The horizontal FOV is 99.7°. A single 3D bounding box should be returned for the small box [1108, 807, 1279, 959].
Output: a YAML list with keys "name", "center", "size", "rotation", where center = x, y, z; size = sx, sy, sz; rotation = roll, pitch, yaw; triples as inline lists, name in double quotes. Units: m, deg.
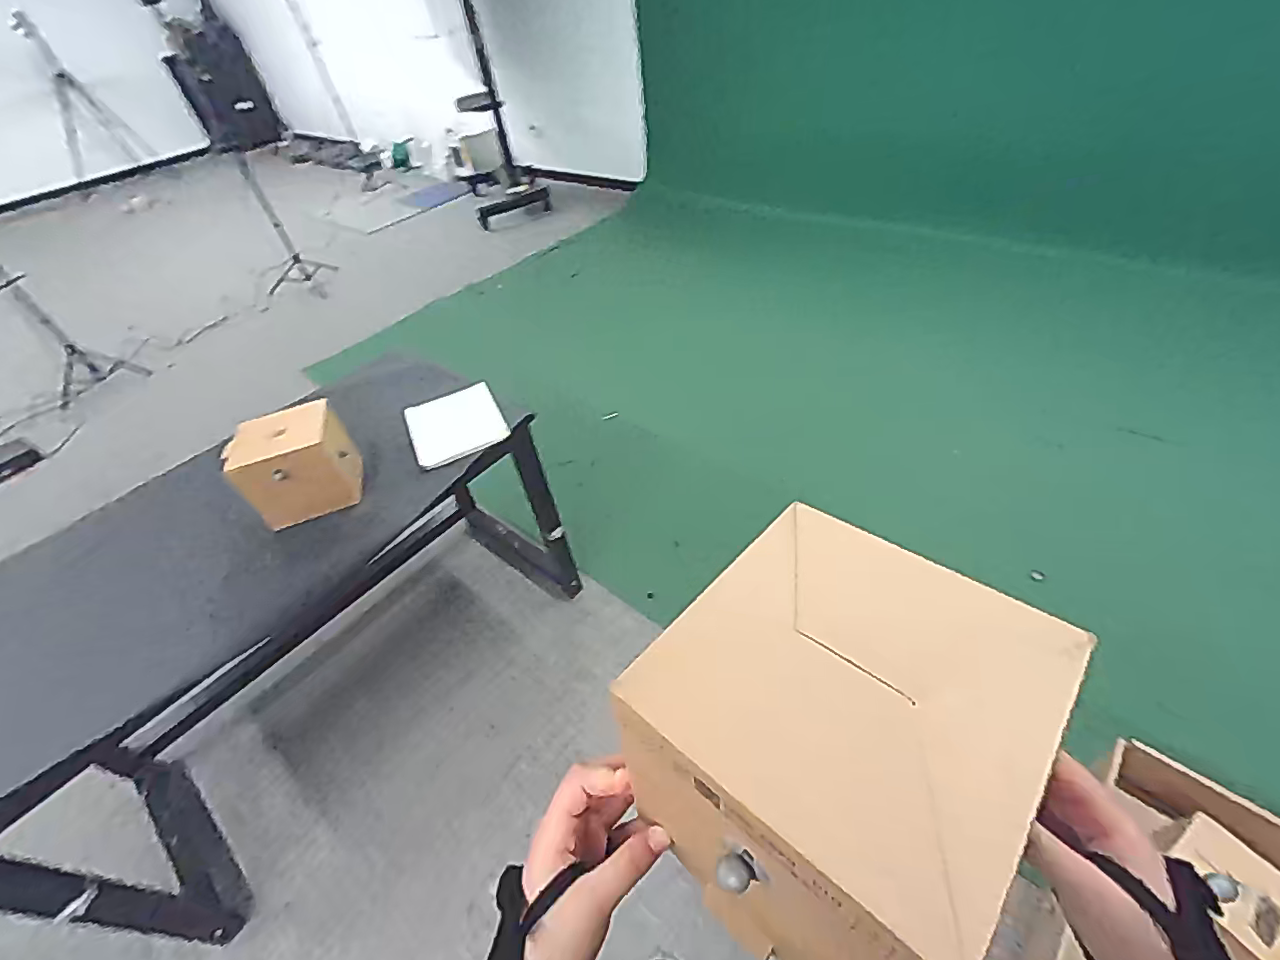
- name: "small box"
  center: [1.051, 0.761, 1.015]
  size: [0.168, 0.176, 0.179]
  rotation: [-29, 49, -19]

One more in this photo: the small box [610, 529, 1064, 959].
- name: "small box"
  center: [0.103, 0.150, 0.312]
  size: [0.168, 0.176, 0.179]
  rotation: [27, 50, 34]

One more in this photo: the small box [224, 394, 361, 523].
- name: "small box"
  center: [-0.695, -0.043, 1.107]
  size: [0.179, 0.176, 0.168]
  rotation: [-20, 45, -10]
